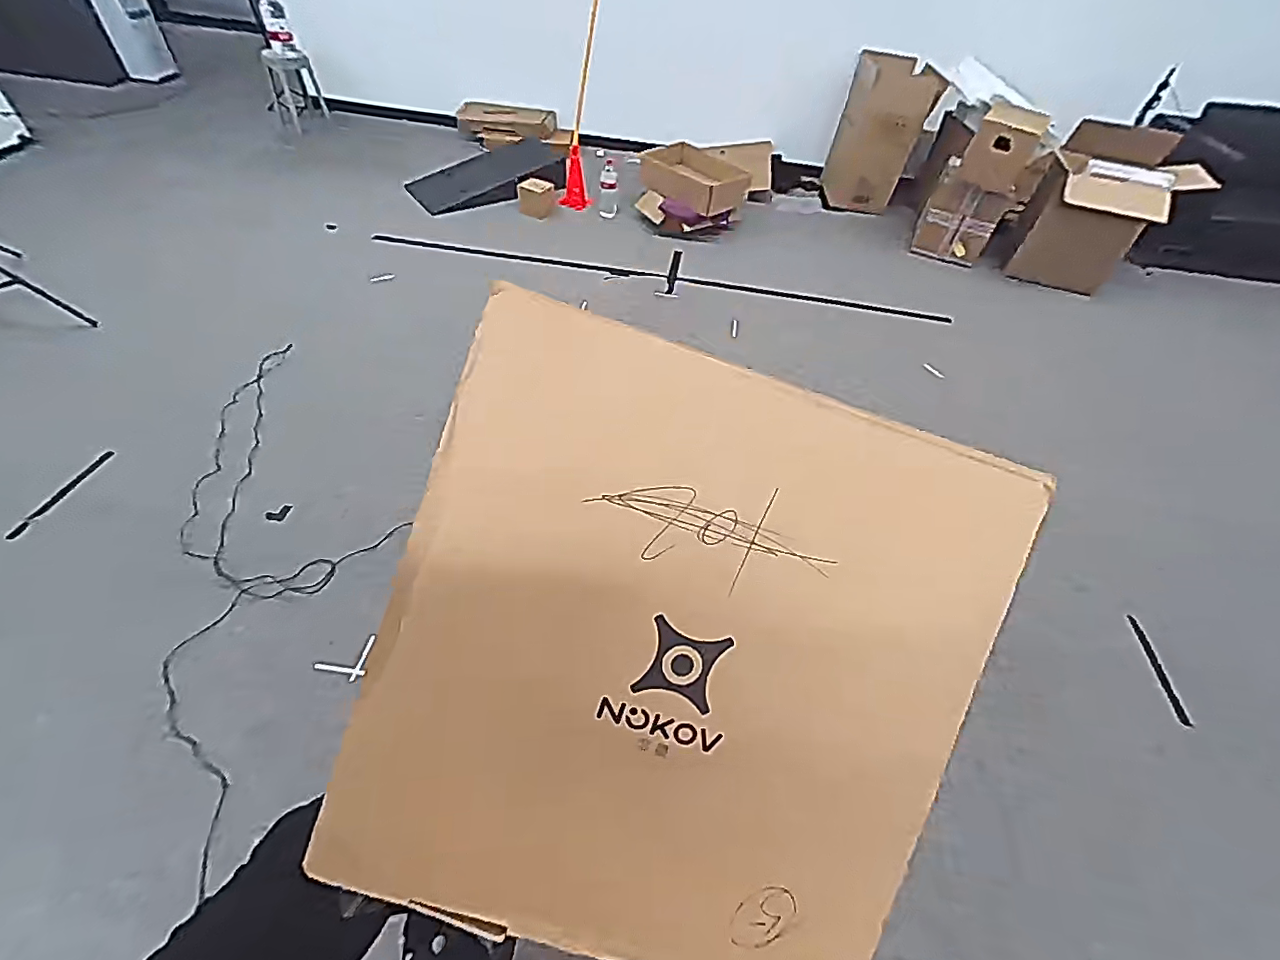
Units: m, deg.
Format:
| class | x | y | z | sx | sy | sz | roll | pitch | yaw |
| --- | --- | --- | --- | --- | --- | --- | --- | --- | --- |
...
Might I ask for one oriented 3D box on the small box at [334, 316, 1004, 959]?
| class | x | y | z | sx | sy | sz | roll | pitch | yaw |
| --- | --- | --- | --- | --- | --- | --- | --- | --- | --- |
| small box | 0.006 | 0.054 | 0.245 | 0.168 | 0.176 | 0.179 | 18 | 92 | -4 |
